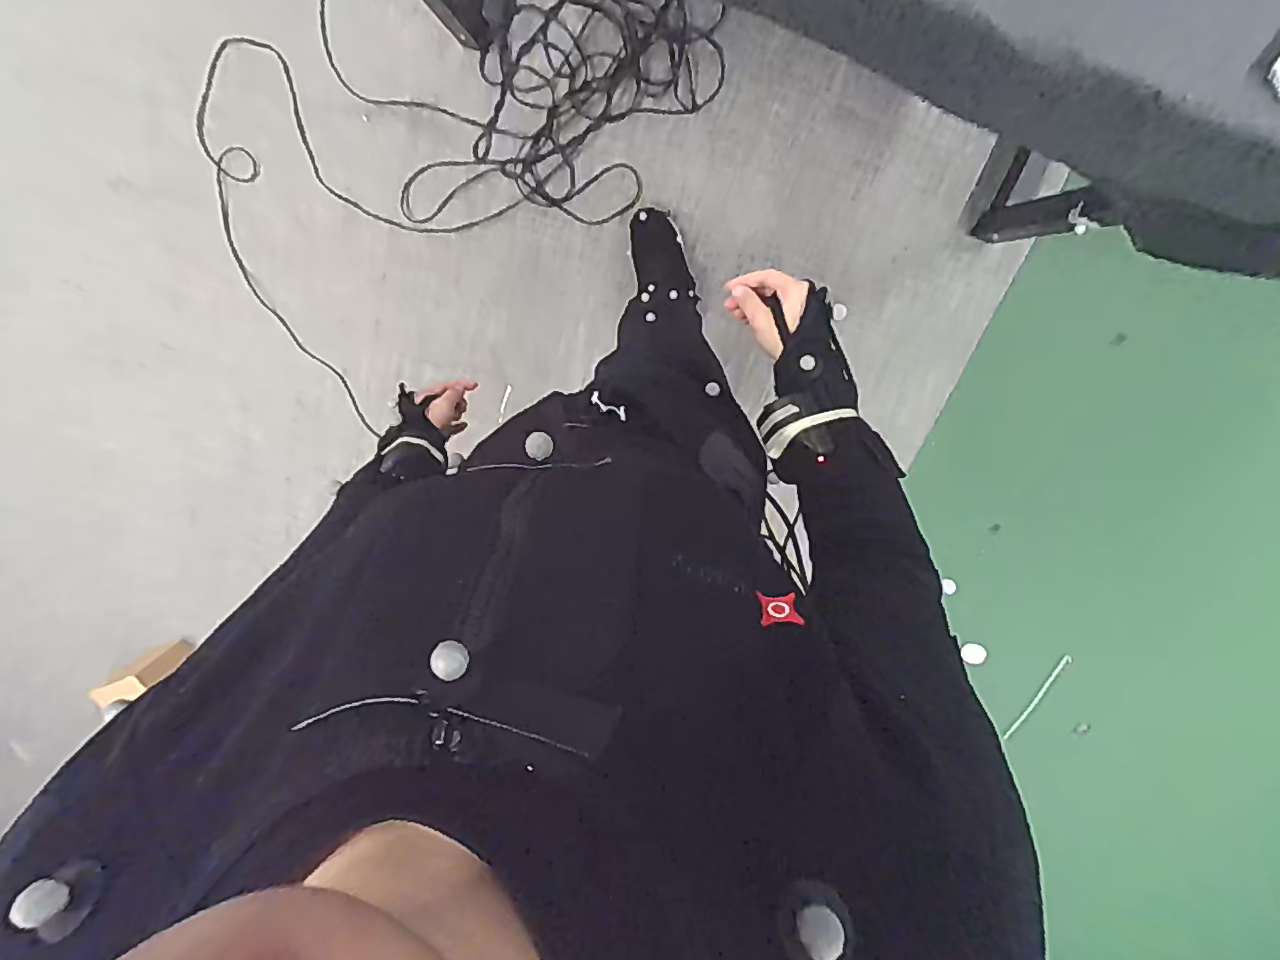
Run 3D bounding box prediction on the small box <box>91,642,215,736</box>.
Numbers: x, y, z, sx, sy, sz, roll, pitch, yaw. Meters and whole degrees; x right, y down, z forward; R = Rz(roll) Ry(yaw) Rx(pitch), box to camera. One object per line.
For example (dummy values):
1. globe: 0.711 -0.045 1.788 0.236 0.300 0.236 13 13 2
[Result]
1. small box: -1.422 0.610 1.592 0.179 0.176 0.168 -23 108 10
